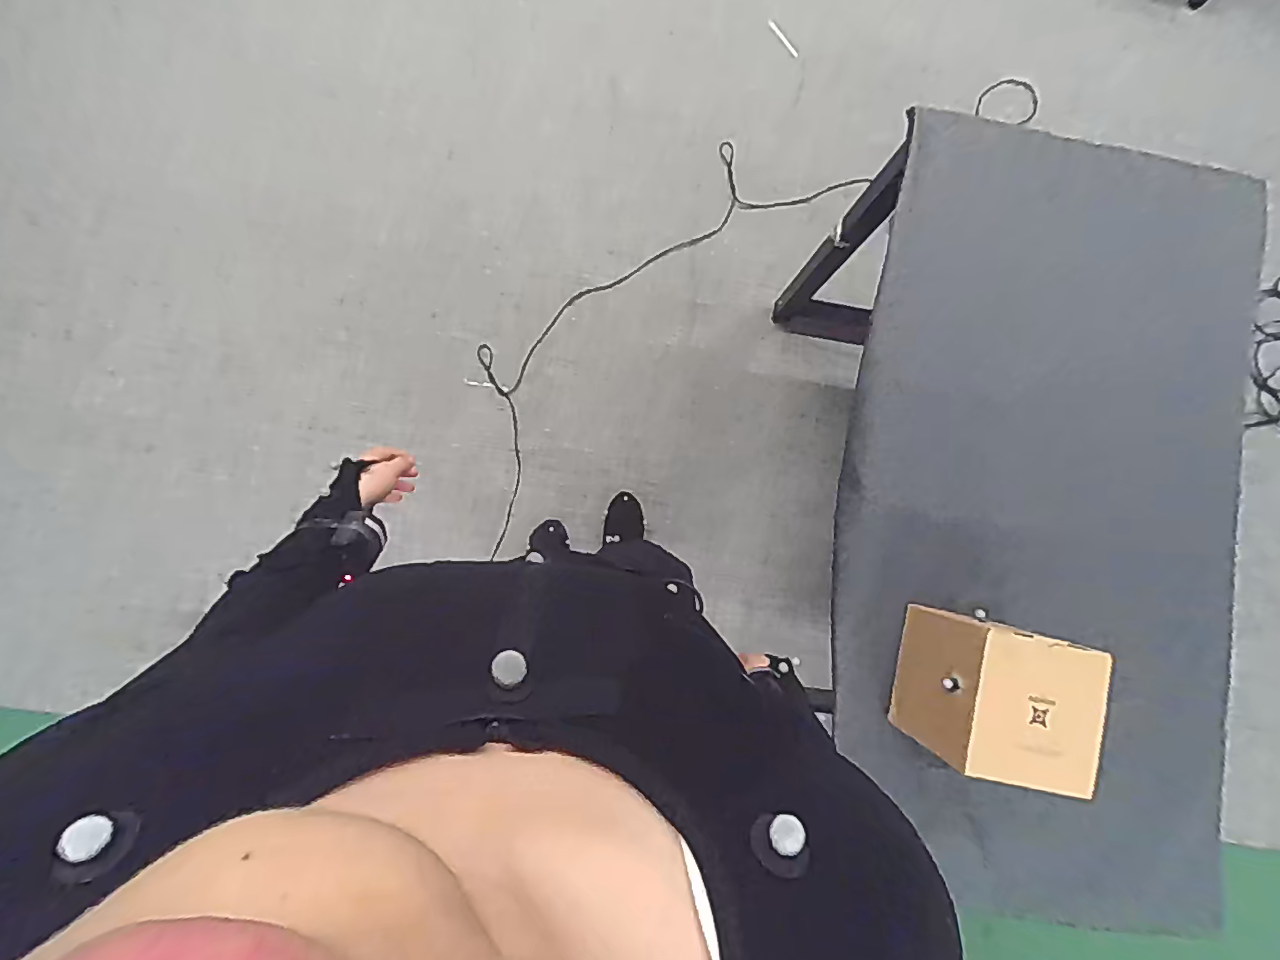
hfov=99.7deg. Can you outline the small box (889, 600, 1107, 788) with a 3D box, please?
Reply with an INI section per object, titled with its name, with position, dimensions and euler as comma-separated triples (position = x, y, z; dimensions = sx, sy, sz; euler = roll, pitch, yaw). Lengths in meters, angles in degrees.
[small box]
position = 0.459, 0.267, 0.718
dimensions = 0.168, 0.176, 0.179
euler = 12, 85, -4
